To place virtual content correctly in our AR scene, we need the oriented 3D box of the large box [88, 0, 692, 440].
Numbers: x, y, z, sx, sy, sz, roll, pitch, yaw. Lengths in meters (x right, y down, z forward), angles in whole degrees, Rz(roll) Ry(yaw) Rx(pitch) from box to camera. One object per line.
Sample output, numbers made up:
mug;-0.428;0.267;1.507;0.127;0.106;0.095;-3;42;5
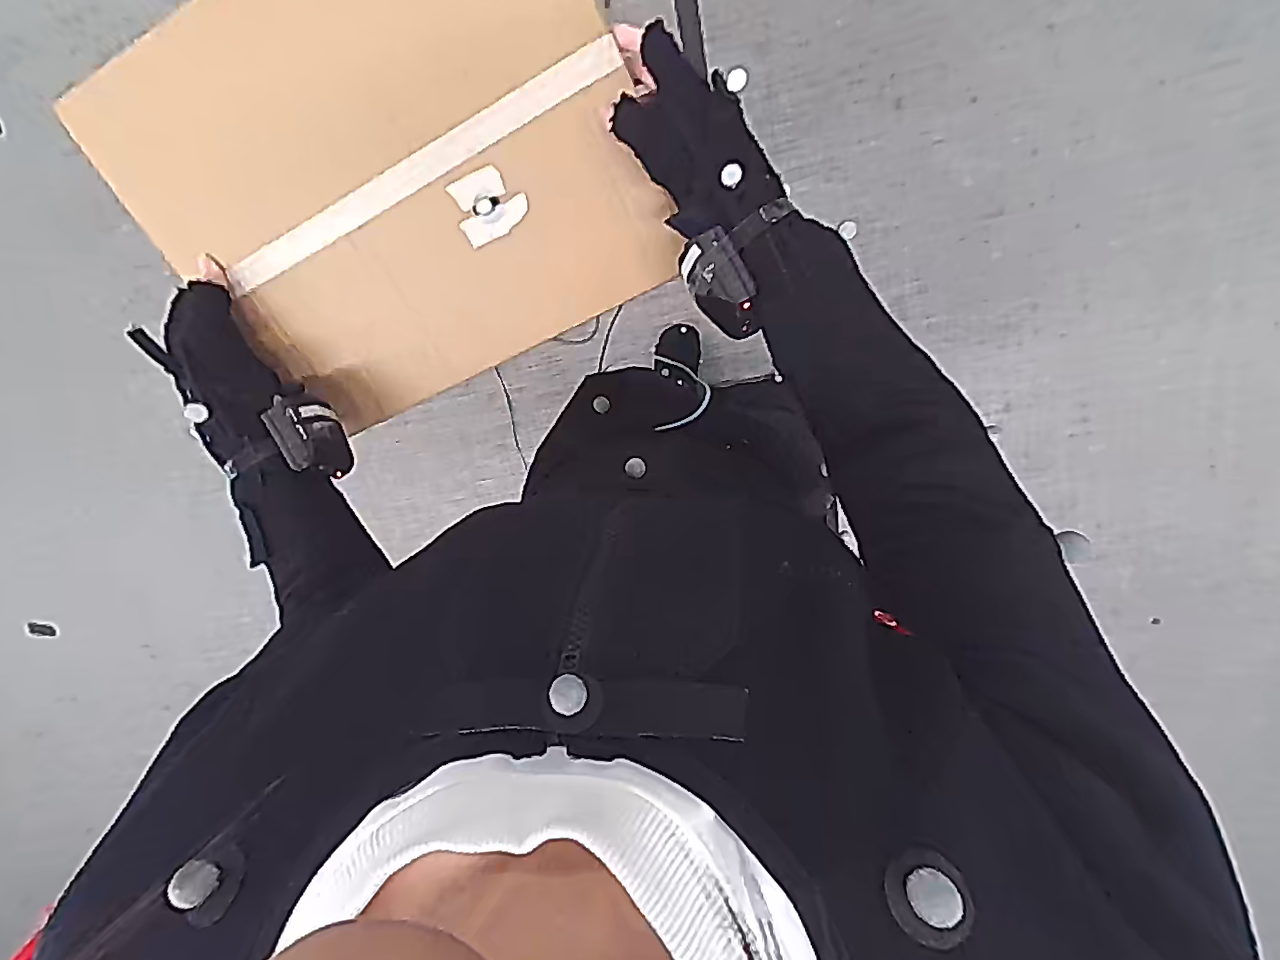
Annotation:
large box;-0.195;-0.301;0.575;0.408;0.320;0.320;-24;113;12
